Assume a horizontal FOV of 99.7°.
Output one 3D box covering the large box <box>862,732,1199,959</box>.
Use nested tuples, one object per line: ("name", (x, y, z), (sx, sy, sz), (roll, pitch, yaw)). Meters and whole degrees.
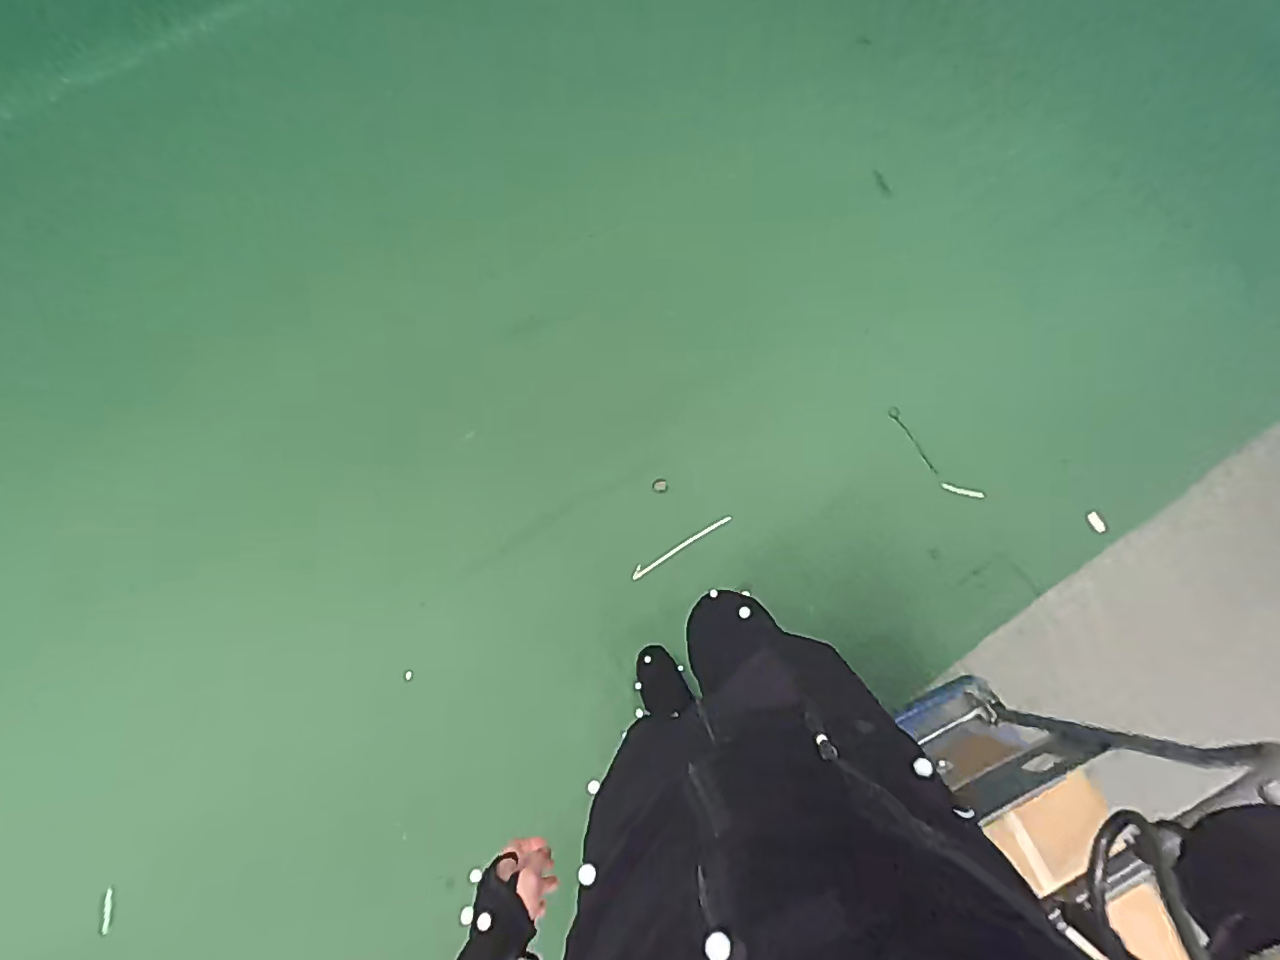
("large box", (0.705, 0.765, 1.019), (0.320, 0.320, 0.408), (-25, 78, -7))
